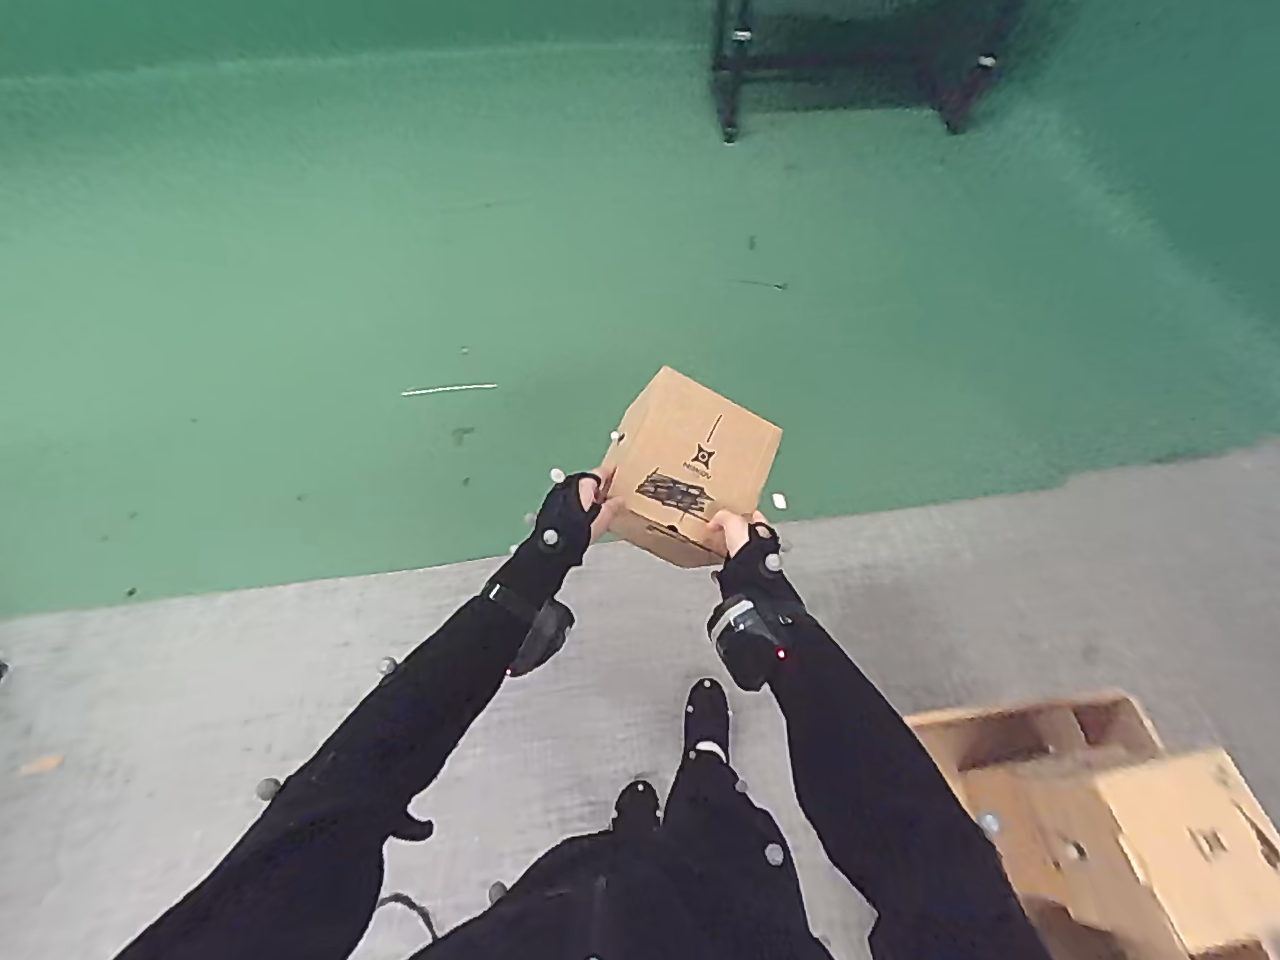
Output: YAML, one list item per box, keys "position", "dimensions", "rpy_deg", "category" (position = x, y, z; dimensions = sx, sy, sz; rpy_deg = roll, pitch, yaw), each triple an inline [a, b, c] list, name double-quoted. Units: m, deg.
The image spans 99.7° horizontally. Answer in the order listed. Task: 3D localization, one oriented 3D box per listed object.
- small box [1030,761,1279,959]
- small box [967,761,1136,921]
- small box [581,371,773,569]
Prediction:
- position: [0.626, 0.452, 0.659]
  dimensions: [0.179, 0.176, 0.168]
  rpy_deg: [-8, 60, -4]
  category: "small box"
- position: [0.640, 0.526, 0.805]
  dimensions: [0.179, 0.176, 0.168]
  rpy_deg: [-8, 59, -5]
  category: "small box"
- position: [0.036, 0.001, 0.681]
  dimensions: [0.168, 0.176, 0.179]
  rpy_deg: [25, 70, -9]
  category: "small box"
